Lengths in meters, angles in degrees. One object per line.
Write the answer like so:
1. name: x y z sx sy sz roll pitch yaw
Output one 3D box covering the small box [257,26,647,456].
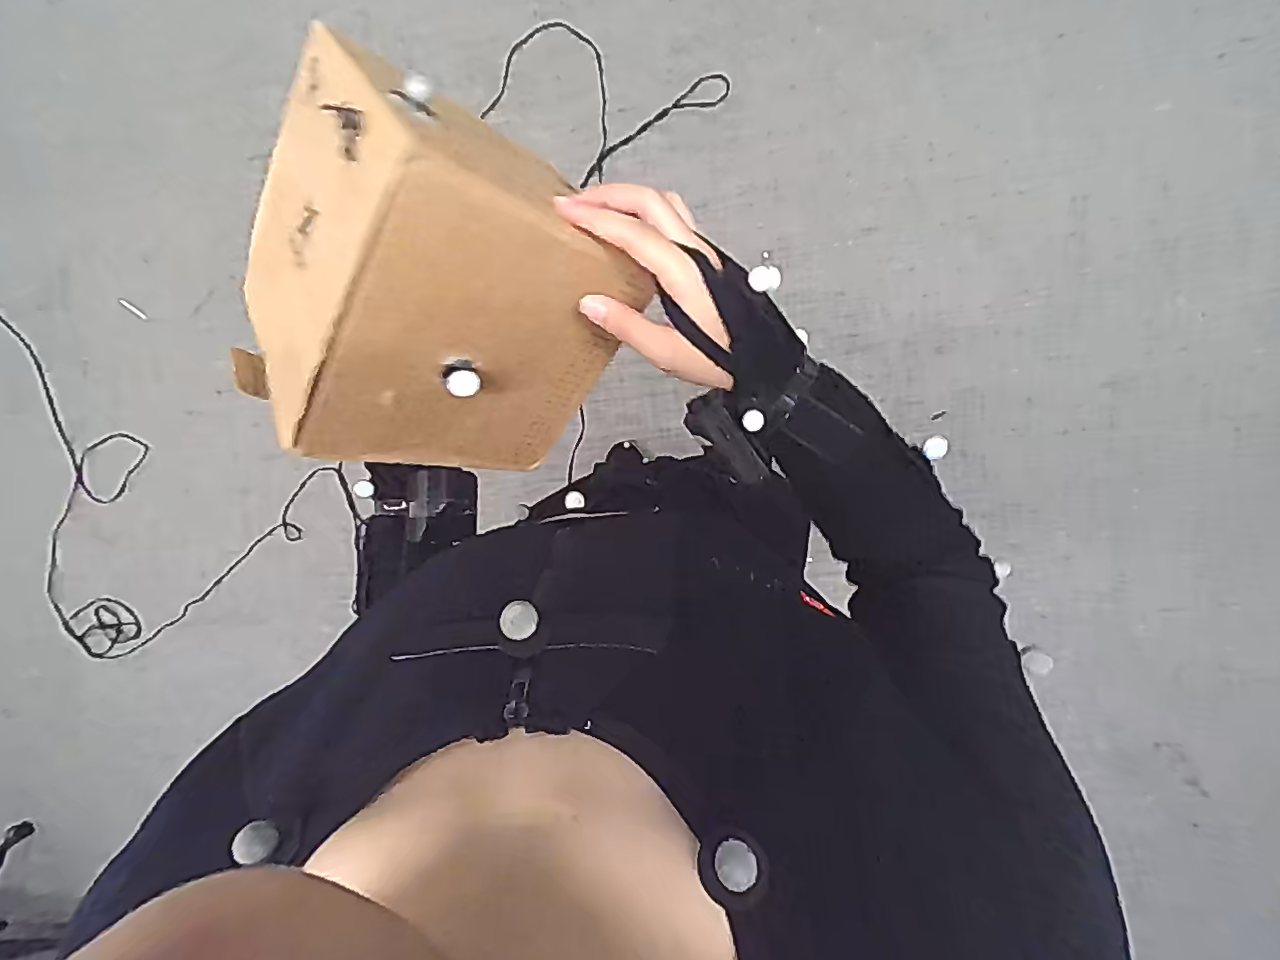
1. small box: -0.127 -0.130 0.357 0.179 0.176 0.168 -52 57 28
